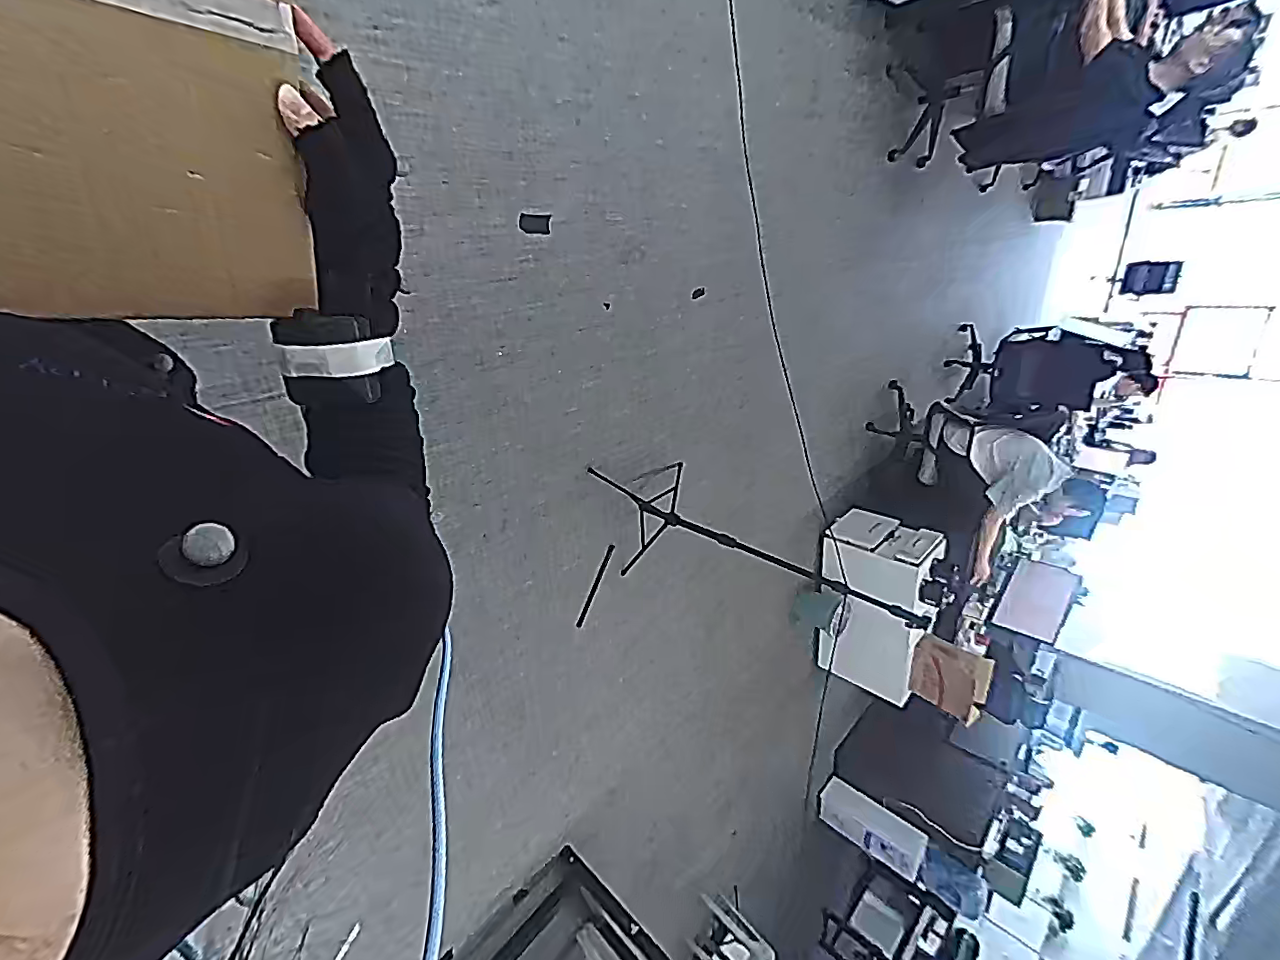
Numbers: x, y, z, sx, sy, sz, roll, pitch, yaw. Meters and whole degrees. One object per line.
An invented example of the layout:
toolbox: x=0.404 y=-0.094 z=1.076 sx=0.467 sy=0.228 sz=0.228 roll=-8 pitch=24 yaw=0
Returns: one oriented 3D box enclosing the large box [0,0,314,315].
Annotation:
large box: x=-0.443 y=-0.281 z=0.267 sx=0.408 sy=0.320 sz=0.320 roll=-15 pitch=132 yaw=-40
